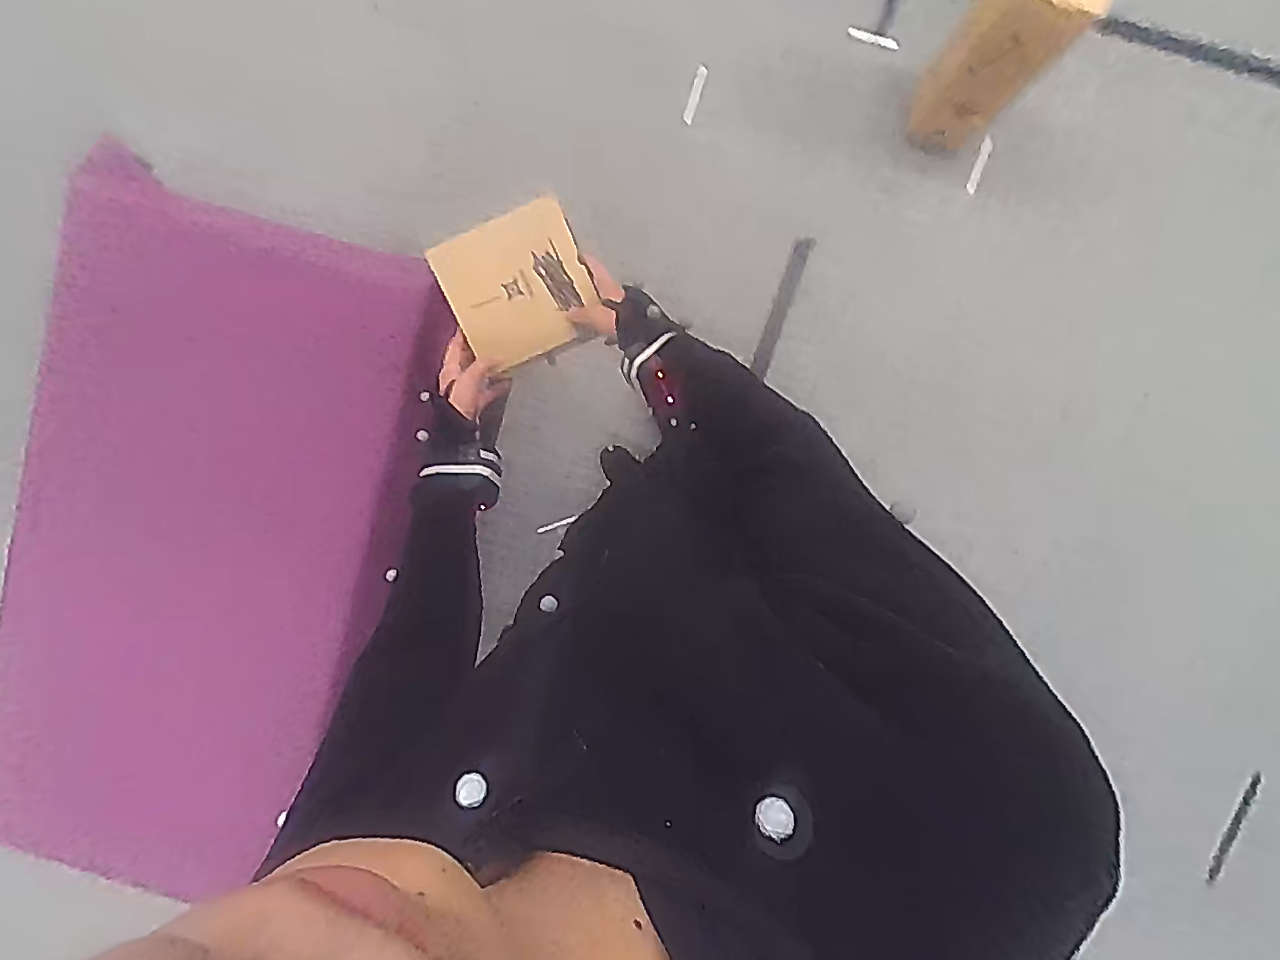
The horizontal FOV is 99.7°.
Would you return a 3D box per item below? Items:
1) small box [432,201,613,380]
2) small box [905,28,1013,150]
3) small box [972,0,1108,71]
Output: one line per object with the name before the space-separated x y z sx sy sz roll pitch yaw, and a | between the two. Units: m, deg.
small box | -0.148 -0.249 0.744 0.179 0.176 0.168 -23 102 3
small box | 0.811 -0.990 1.382 0.168 0.176 0.179 14 98 1
small box | 0.794 -0.960 1.056 0.168 0.176 0.179 18 97 0
